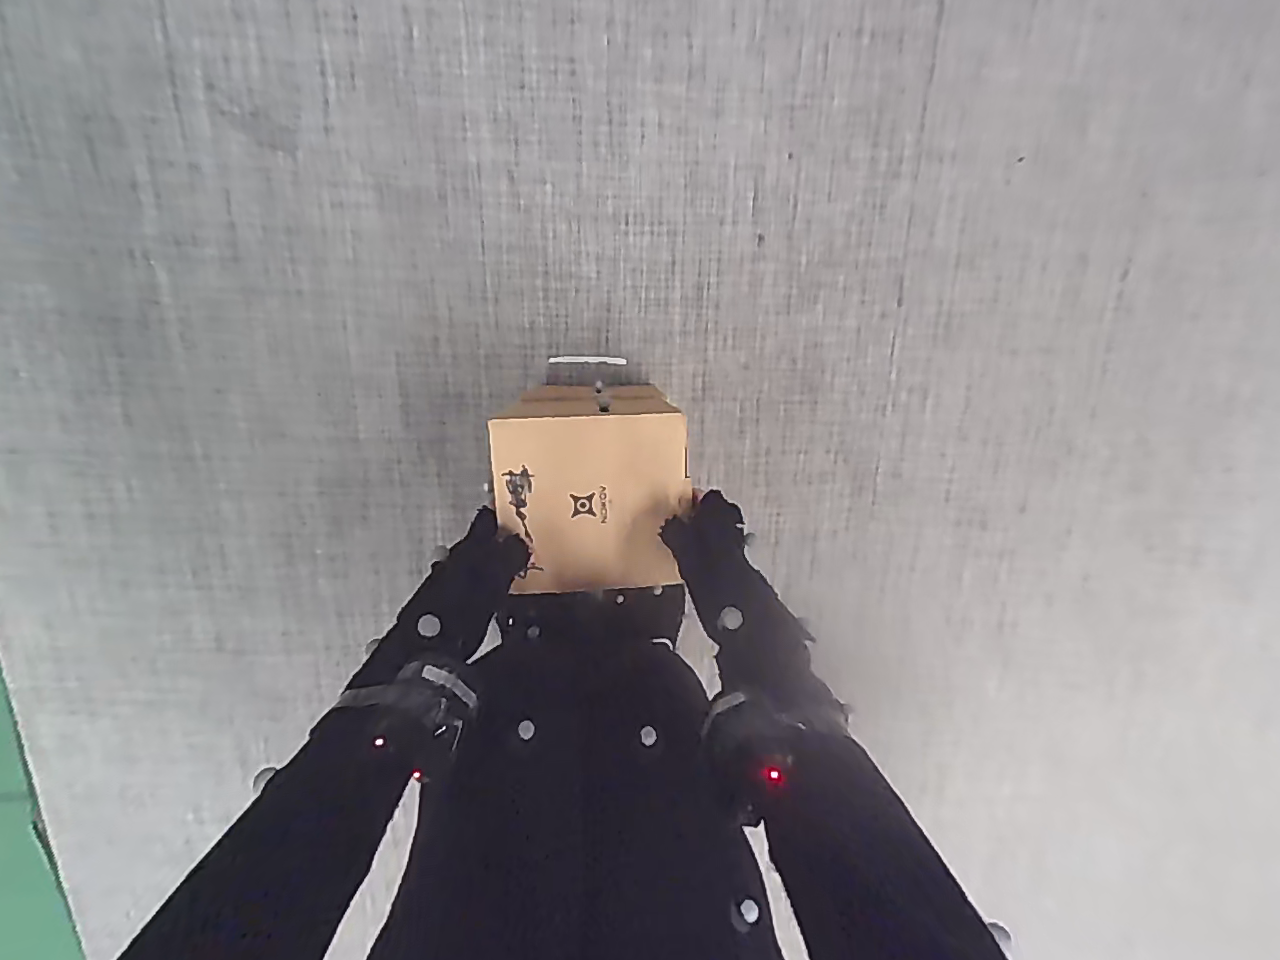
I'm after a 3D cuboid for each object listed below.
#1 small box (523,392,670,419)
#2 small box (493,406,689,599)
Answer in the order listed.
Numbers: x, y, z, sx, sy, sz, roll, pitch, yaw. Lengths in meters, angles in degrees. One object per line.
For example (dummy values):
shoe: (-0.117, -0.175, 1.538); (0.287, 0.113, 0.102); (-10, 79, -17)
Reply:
small box: (-0.056, -0.031, 0.732); (0.179, 0.176, 0.168); (-1, 103, -2)
small box: (-0.049, 0.011, 0.574); (0.179, 0.176, 0.168); (-3, 102, -4)
